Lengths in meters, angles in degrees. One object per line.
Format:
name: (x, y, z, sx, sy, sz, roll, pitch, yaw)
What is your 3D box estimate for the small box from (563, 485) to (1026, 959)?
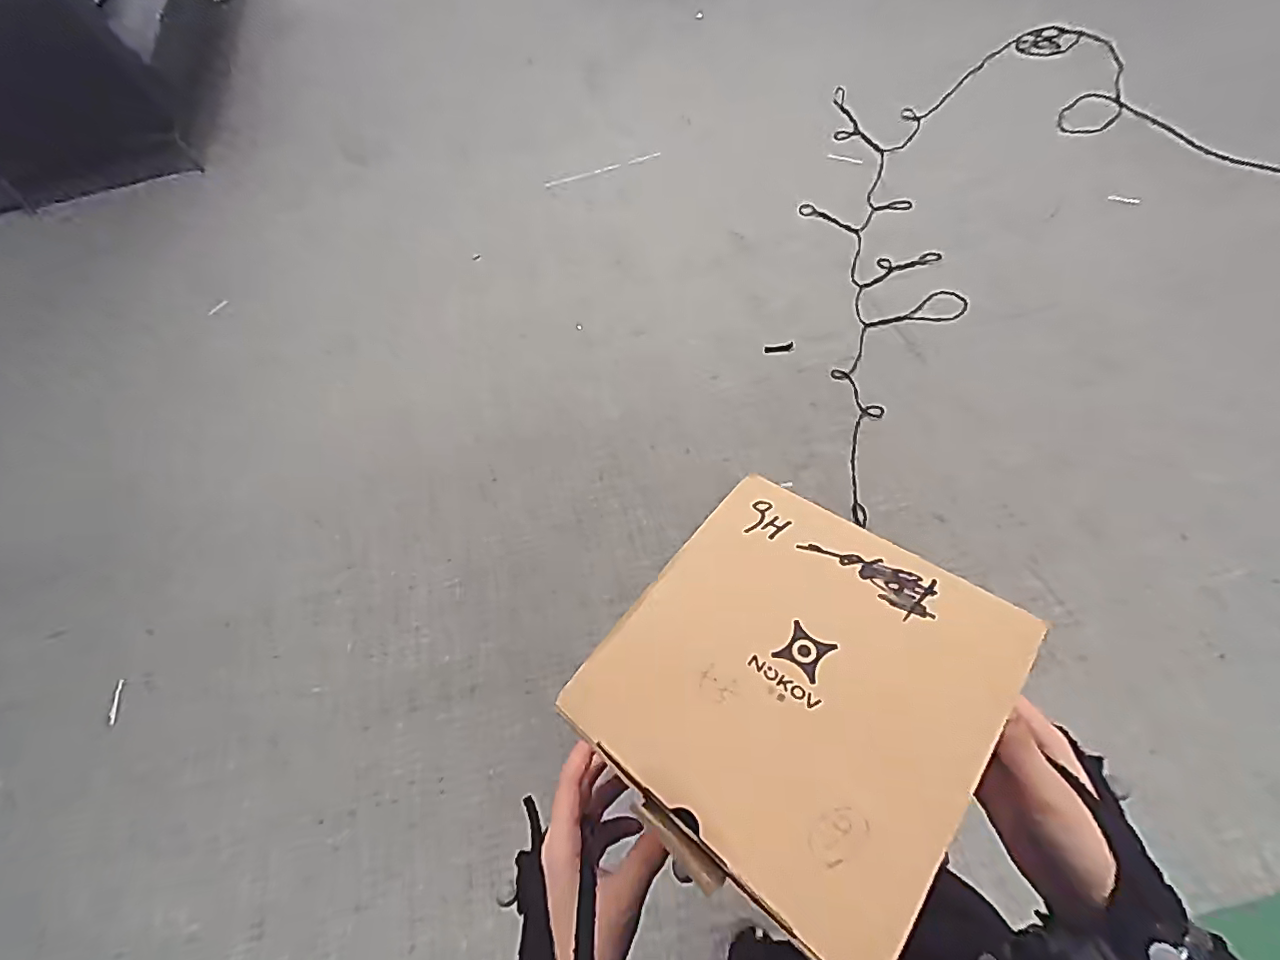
small box: (0.087, 0.143, 0.331, 0.168, 0.176, 0.179, 30, 64, 30)
